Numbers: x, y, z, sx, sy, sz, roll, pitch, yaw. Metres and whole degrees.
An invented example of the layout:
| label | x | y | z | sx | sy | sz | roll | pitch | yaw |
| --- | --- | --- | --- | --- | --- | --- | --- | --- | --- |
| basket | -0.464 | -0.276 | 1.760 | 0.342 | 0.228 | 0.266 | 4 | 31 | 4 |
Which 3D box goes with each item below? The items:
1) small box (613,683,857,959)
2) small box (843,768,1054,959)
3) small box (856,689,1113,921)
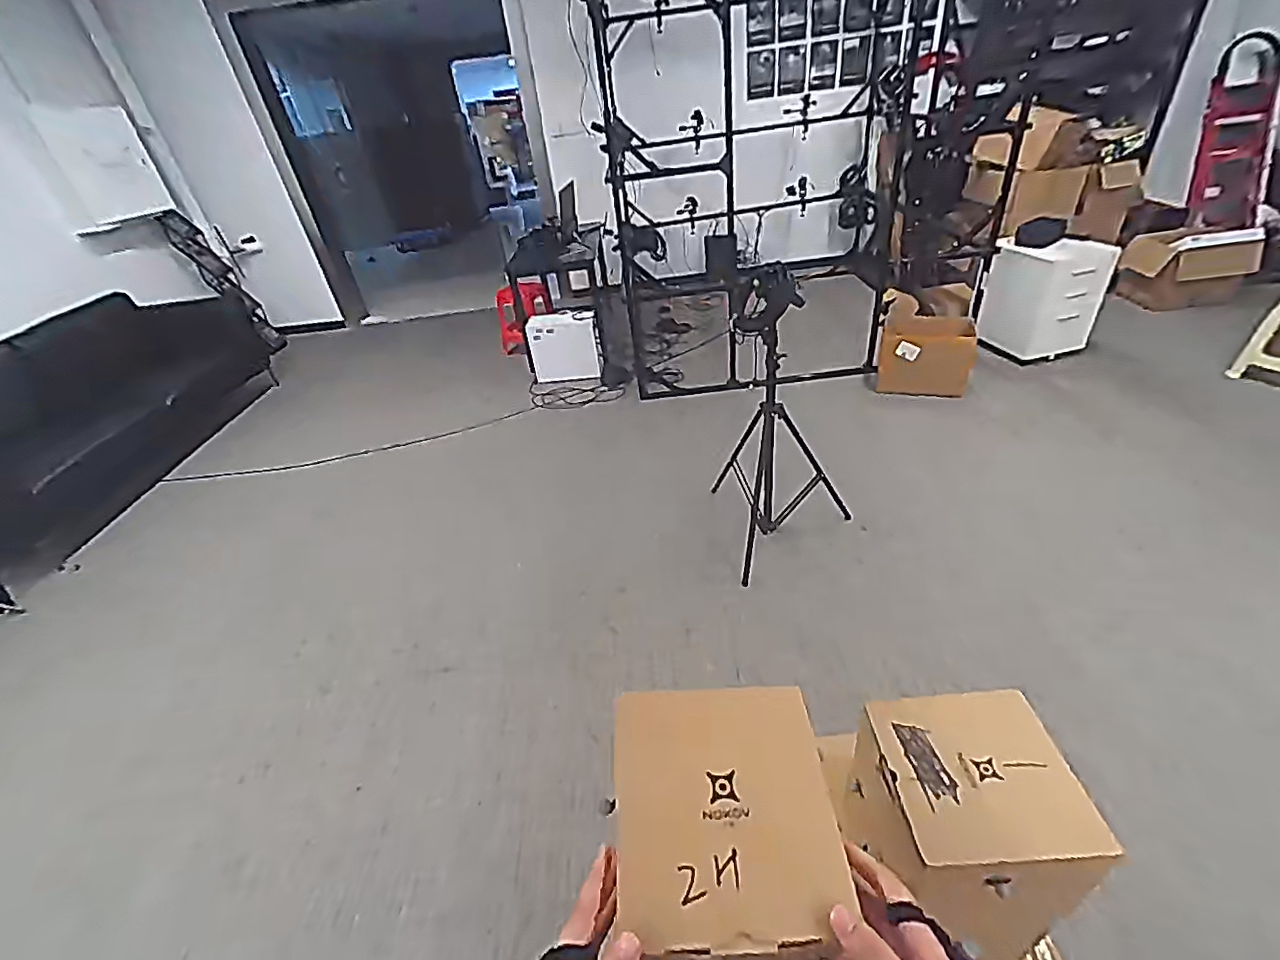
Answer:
| label | x | y | z | sx | sy | sz | roll | pitch | yaw |
| --- | --- | --- | --- | --- | --- | --- | --- | --- | --- |
| small box | 0.059 | 0.300 | 0.471 | 0.168 | 0.176 | 0.179 | -2 | 44 | -2 |
| small box | 0.370 | 0.491 | 0.692 | 0.168 | 0.176 | 0.179 | -7 | 36 | 5 |
| small box | 0.350 | 0.358 | 0.597 | 0.179 | 0.176 | 0.168 | -7 | 35 | 4 |
